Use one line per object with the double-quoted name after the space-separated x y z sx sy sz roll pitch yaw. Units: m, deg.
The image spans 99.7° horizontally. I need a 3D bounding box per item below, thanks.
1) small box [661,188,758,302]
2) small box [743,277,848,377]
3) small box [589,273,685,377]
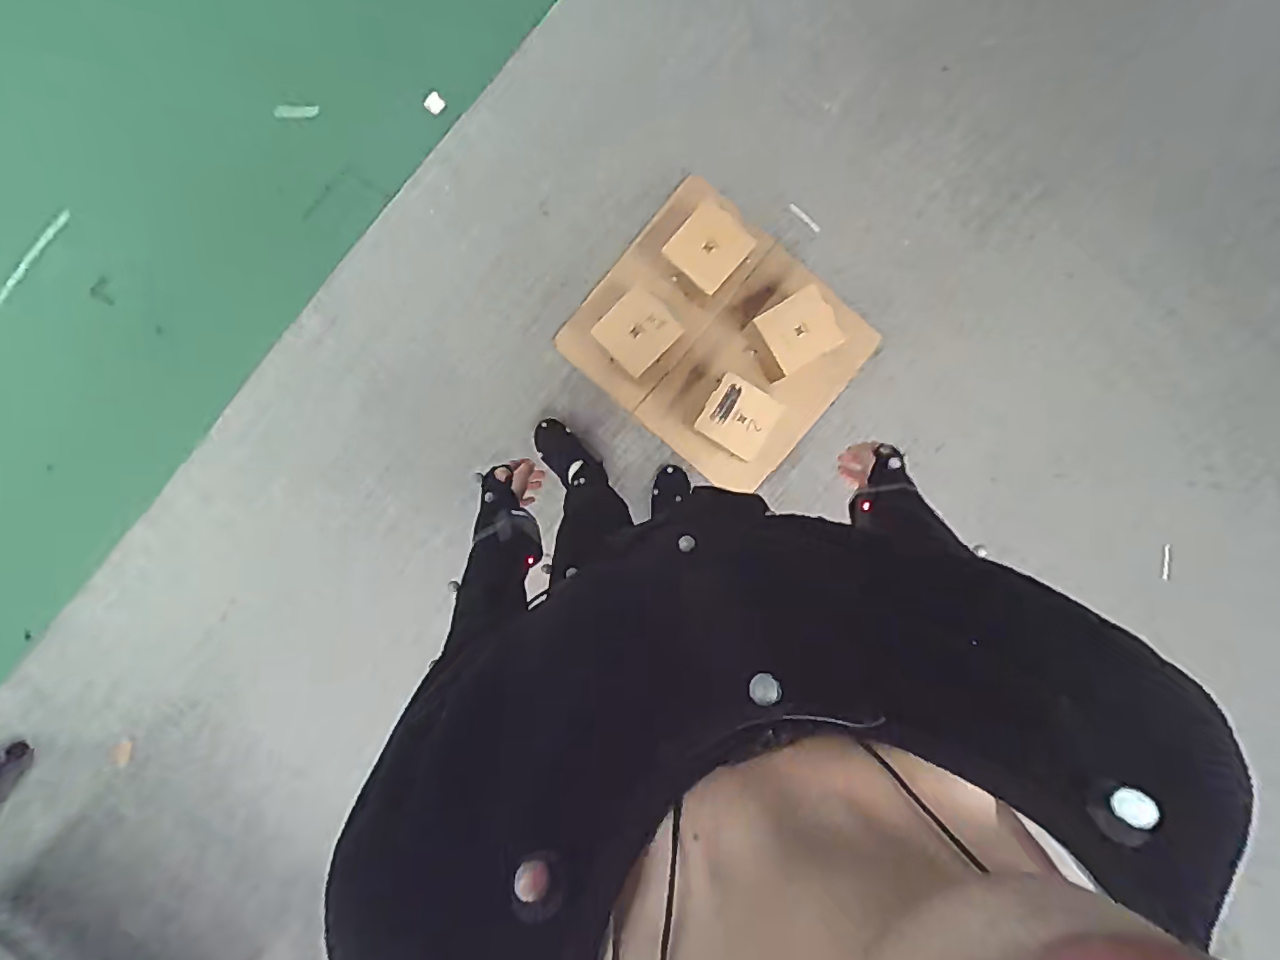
0.168 -0.584 1.371 0.168 0.176 0.179 42 92 -3 "small box"
0.388 -0.383 1.382 0.179 0.176 0.168 -30 93 1 "small box"
-0.007 -0.384 1.380 0.179 0.176 0.168 -44 94 2 "small box"
